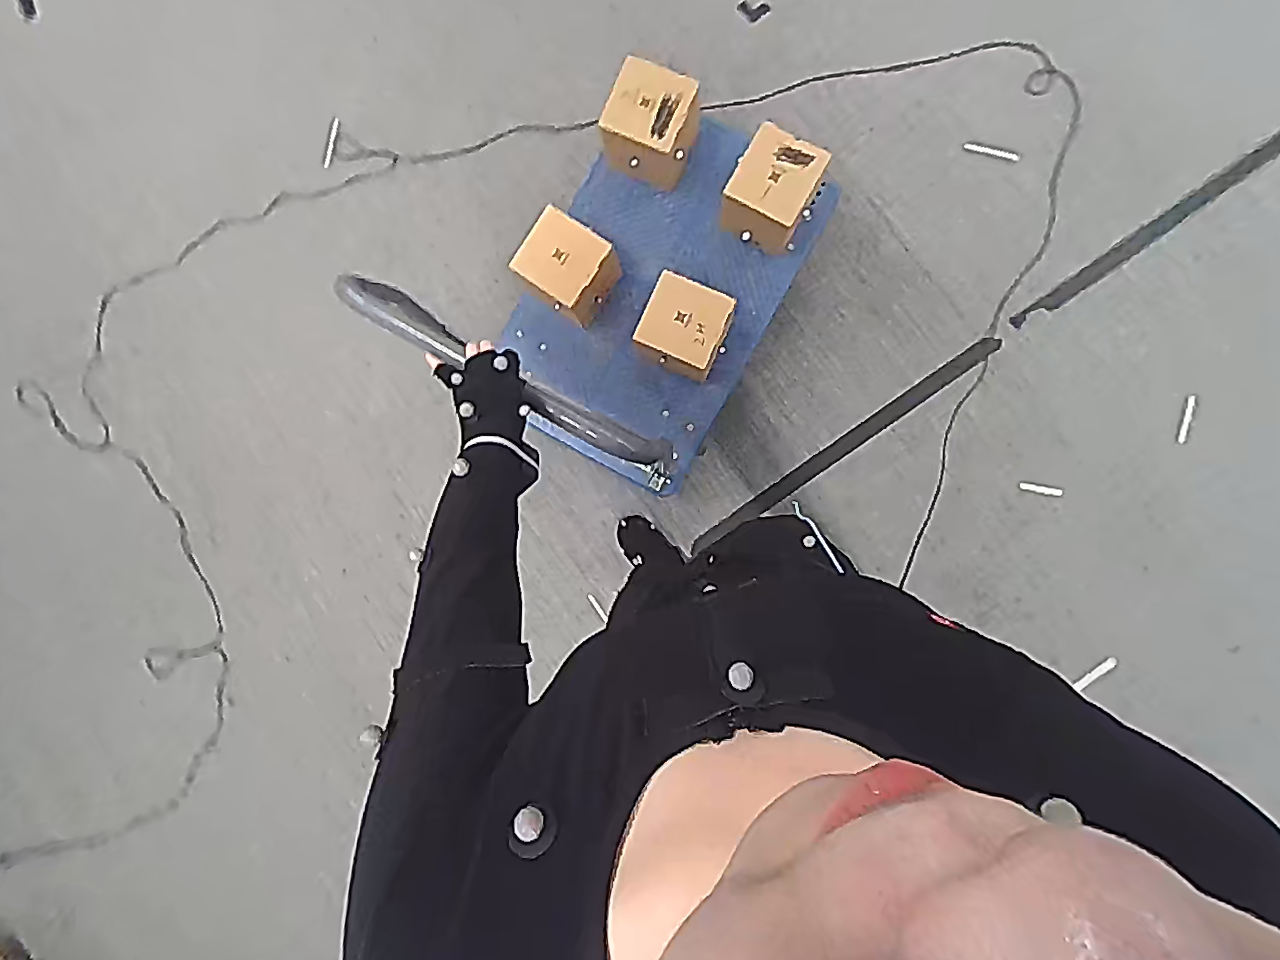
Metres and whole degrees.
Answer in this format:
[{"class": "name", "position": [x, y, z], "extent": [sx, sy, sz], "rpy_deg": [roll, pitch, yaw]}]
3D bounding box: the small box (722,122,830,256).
[{"class": "small box", "position": [0.296, -0.648, 1.224], "extent": [0.168, 0.176, 0.179], "rpy_deg": [31, 94, 5]}]

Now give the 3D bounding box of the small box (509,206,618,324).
[{"class": "small box", "position": [-0.171, -0.491, 1.268], "extent": [0.179, 0.176, 0.168], "rpy_deg": [34, 92, 3]}]

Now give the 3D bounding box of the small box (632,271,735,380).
[{"class": "small box", "position": [0.100, -0.344, 1.242], "extent": [0.179, 0.176, 0.168], "rpy_deg": [25, 93, 5]}]
